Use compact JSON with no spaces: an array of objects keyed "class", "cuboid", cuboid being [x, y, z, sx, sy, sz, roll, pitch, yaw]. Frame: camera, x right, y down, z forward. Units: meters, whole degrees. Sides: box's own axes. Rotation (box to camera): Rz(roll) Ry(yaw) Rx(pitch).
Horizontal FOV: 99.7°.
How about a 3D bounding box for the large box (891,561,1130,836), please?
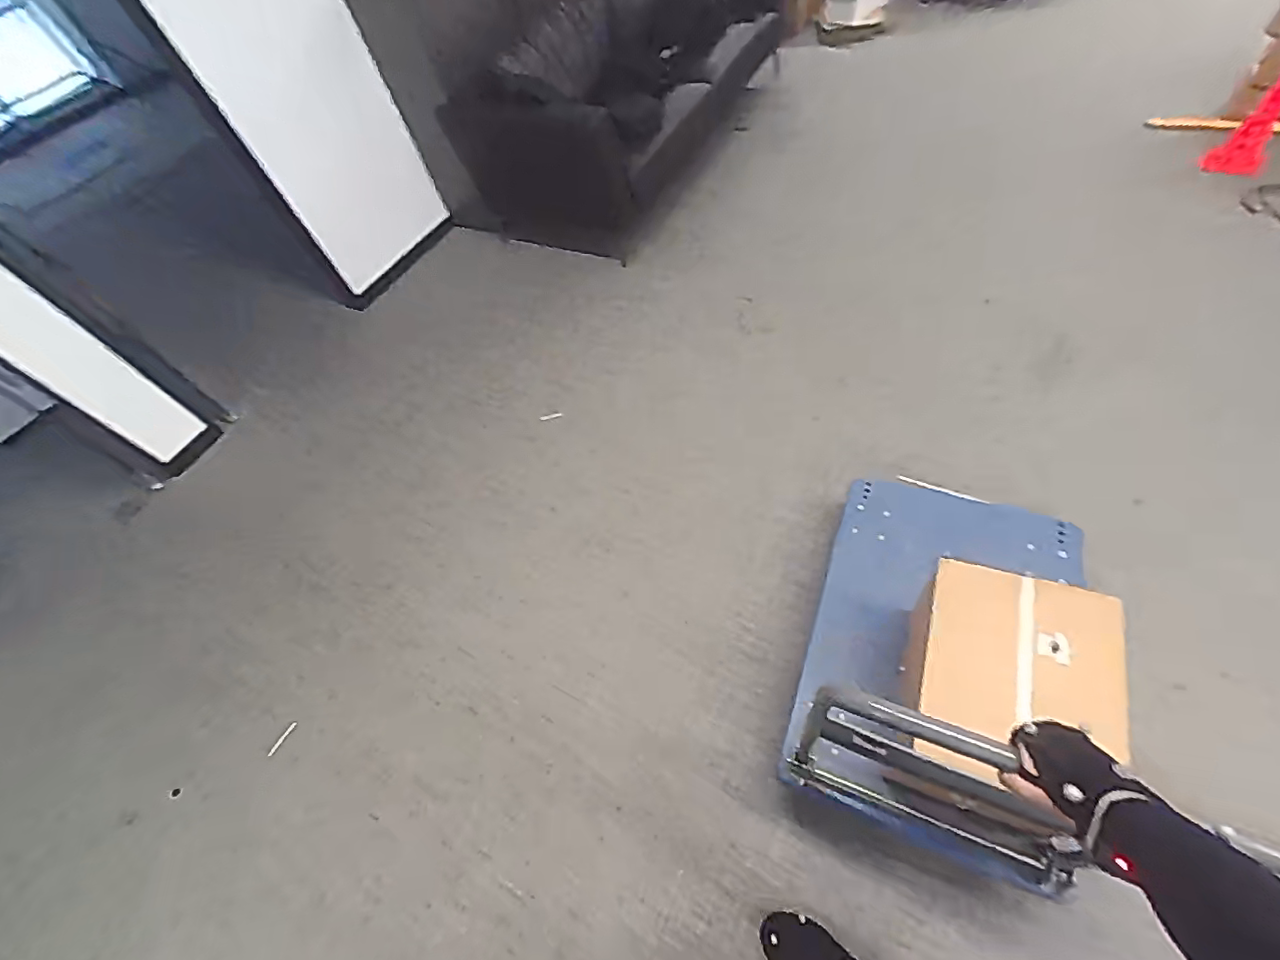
[{"class":"large box","cuboid":[0.727,0.444,1.112,0.320,0.320,0.408,13,59,21]}]
